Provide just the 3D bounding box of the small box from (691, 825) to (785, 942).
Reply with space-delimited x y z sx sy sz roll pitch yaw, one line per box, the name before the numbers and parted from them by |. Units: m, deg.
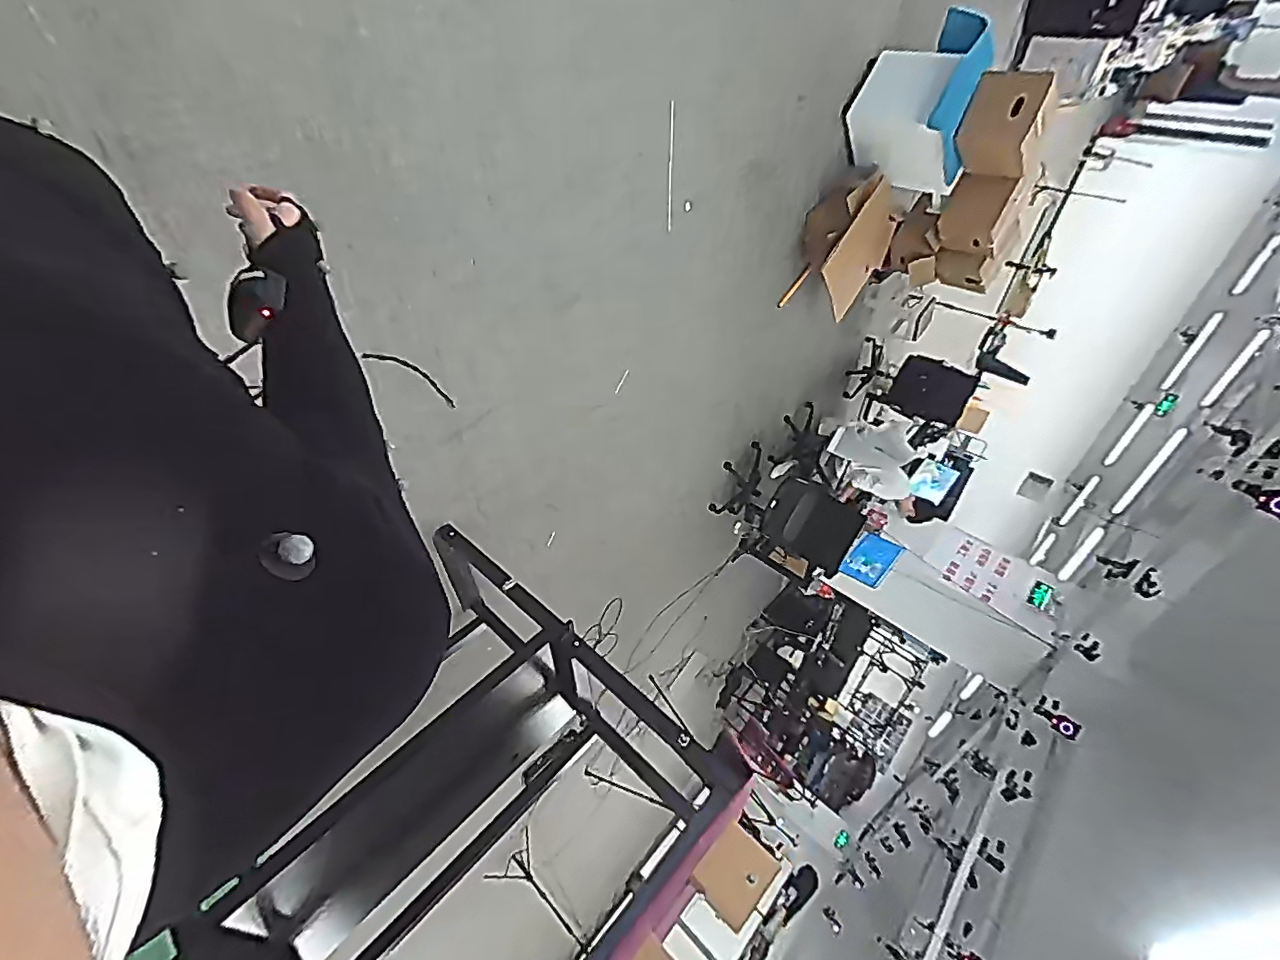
small box | 0.256 1.065 1.434 0.179 0.176 0.168 -38 143 -29
